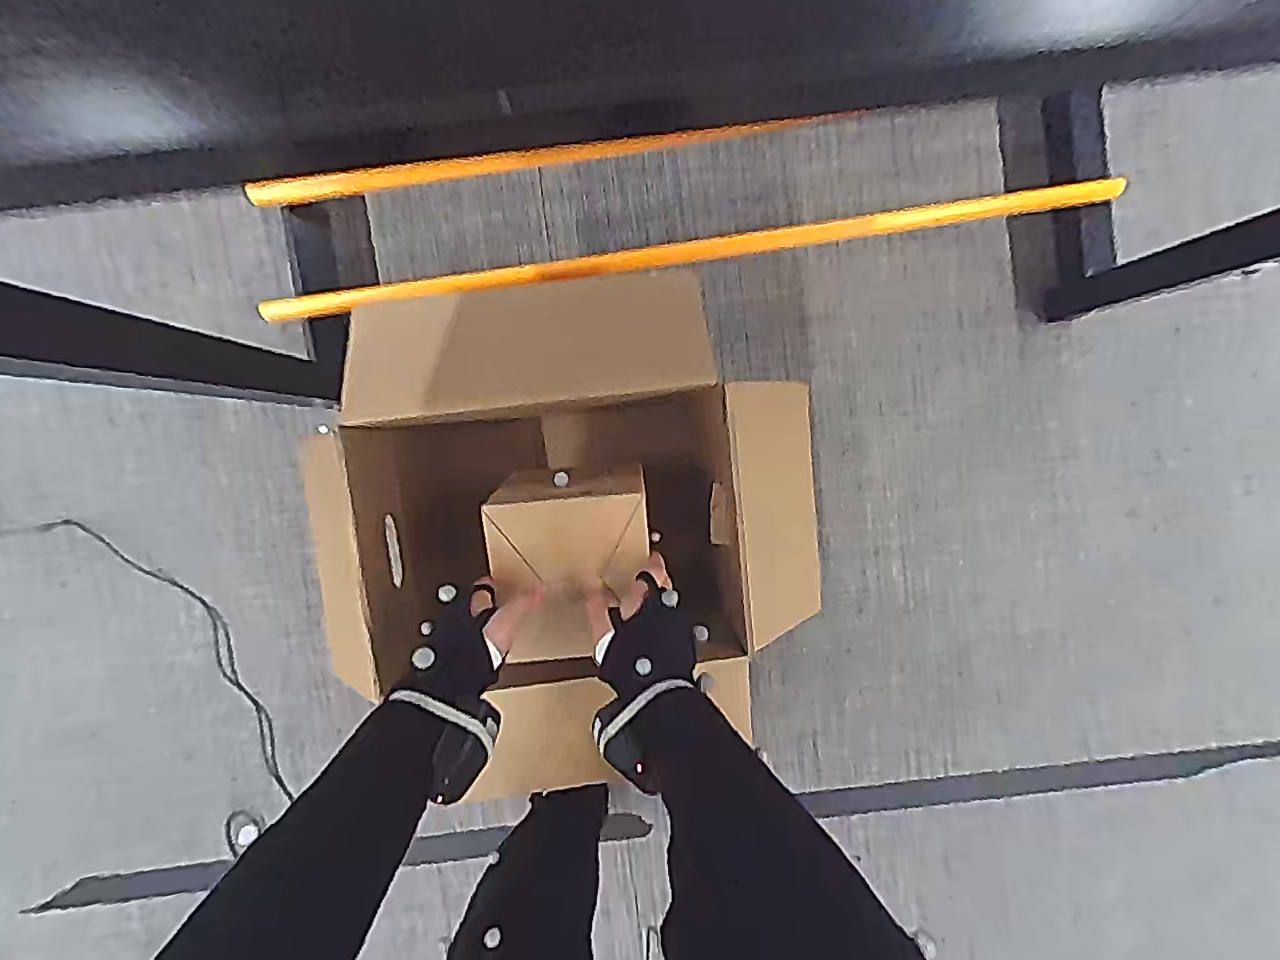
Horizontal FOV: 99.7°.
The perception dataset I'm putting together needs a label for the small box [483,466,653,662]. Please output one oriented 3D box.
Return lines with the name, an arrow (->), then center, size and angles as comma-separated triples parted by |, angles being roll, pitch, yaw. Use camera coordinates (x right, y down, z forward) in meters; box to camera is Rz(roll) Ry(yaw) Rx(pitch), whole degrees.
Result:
small box -> -0.074, 0.090, 0.630 | 0.168, 0.176, 0.179 | -4, 103, -1
